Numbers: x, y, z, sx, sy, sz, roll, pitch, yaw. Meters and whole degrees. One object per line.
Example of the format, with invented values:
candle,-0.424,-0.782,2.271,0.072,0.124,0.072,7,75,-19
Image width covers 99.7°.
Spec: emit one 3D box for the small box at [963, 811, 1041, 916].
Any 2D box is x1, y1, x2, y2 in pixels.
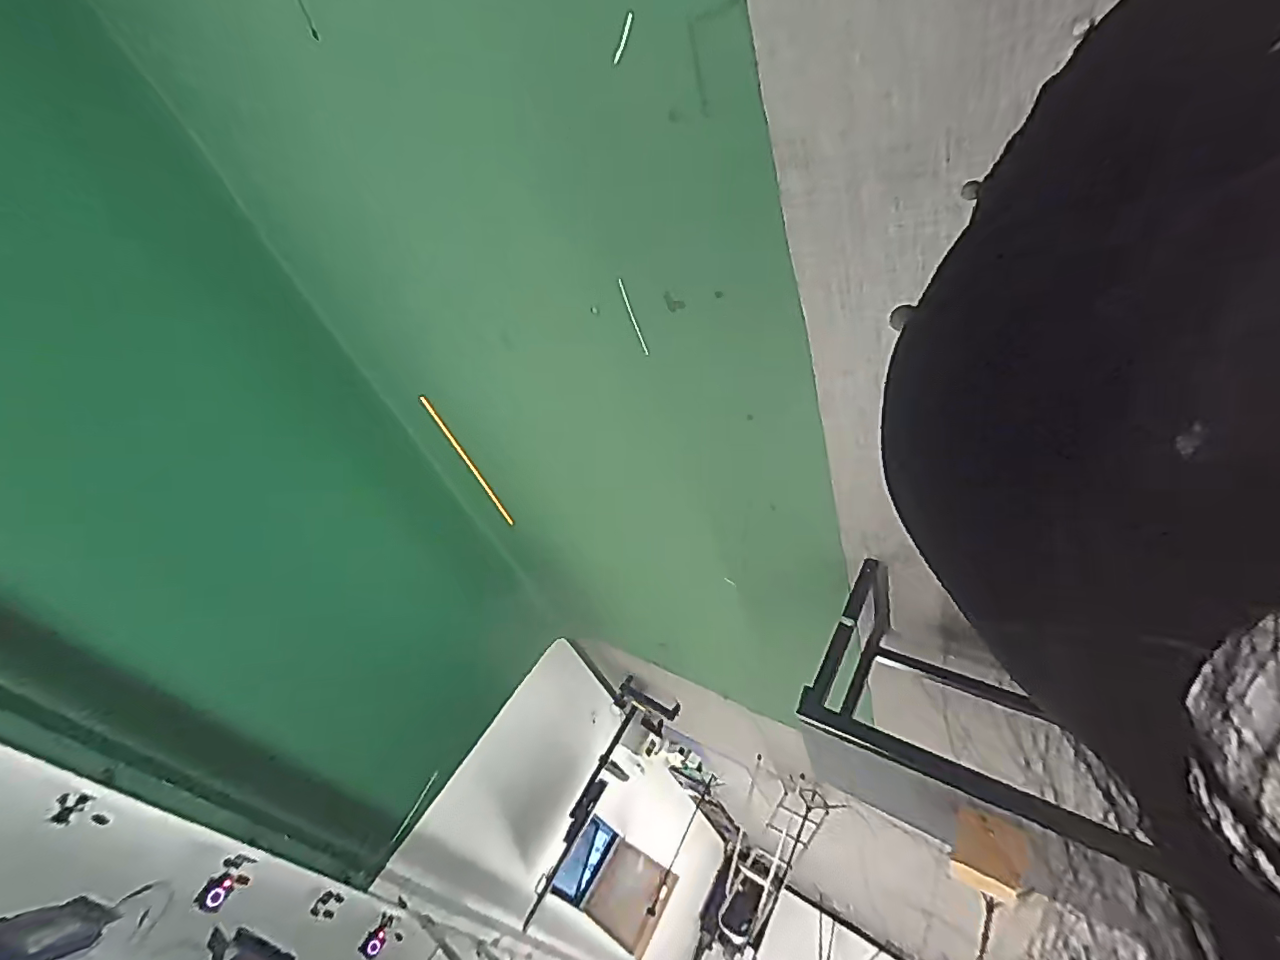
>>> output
small box,1.044,1.100,1.560,0.168,0.176,0.179,8,139,39
